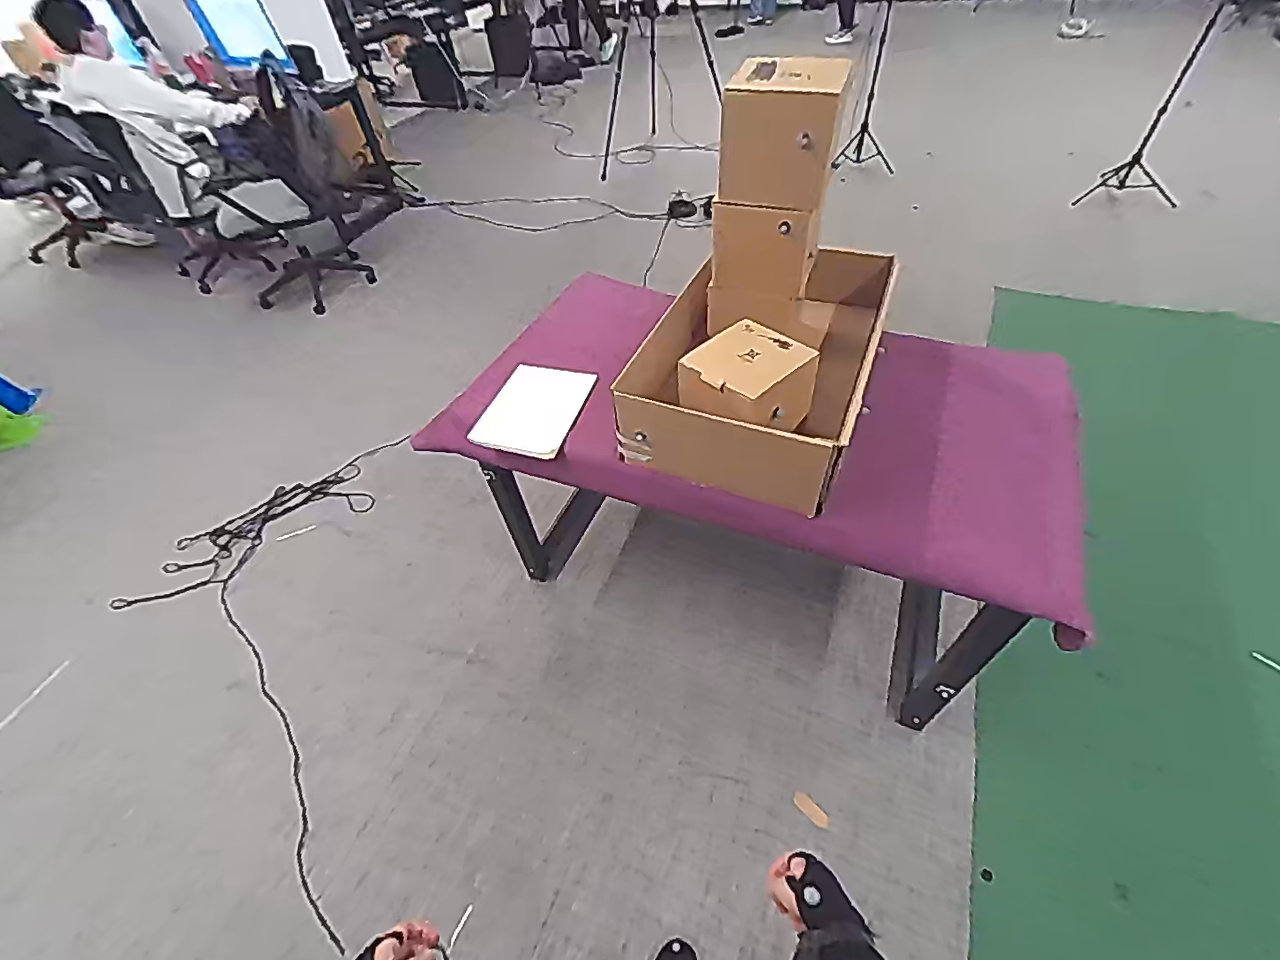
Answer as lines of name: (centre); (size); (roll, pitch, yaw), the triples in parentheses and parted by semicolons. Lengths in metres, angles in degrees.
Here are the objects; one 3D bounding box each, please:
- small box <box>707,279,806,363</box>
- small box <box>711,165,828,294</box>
small box: (0.252, -0.375, 1.156); (0.168, 0.176, 0.179); (17, 55, 19)
small box: (0.242, -0.474, 1.029); (0.179, 0.176, 0.168); (15, 54, 18)
